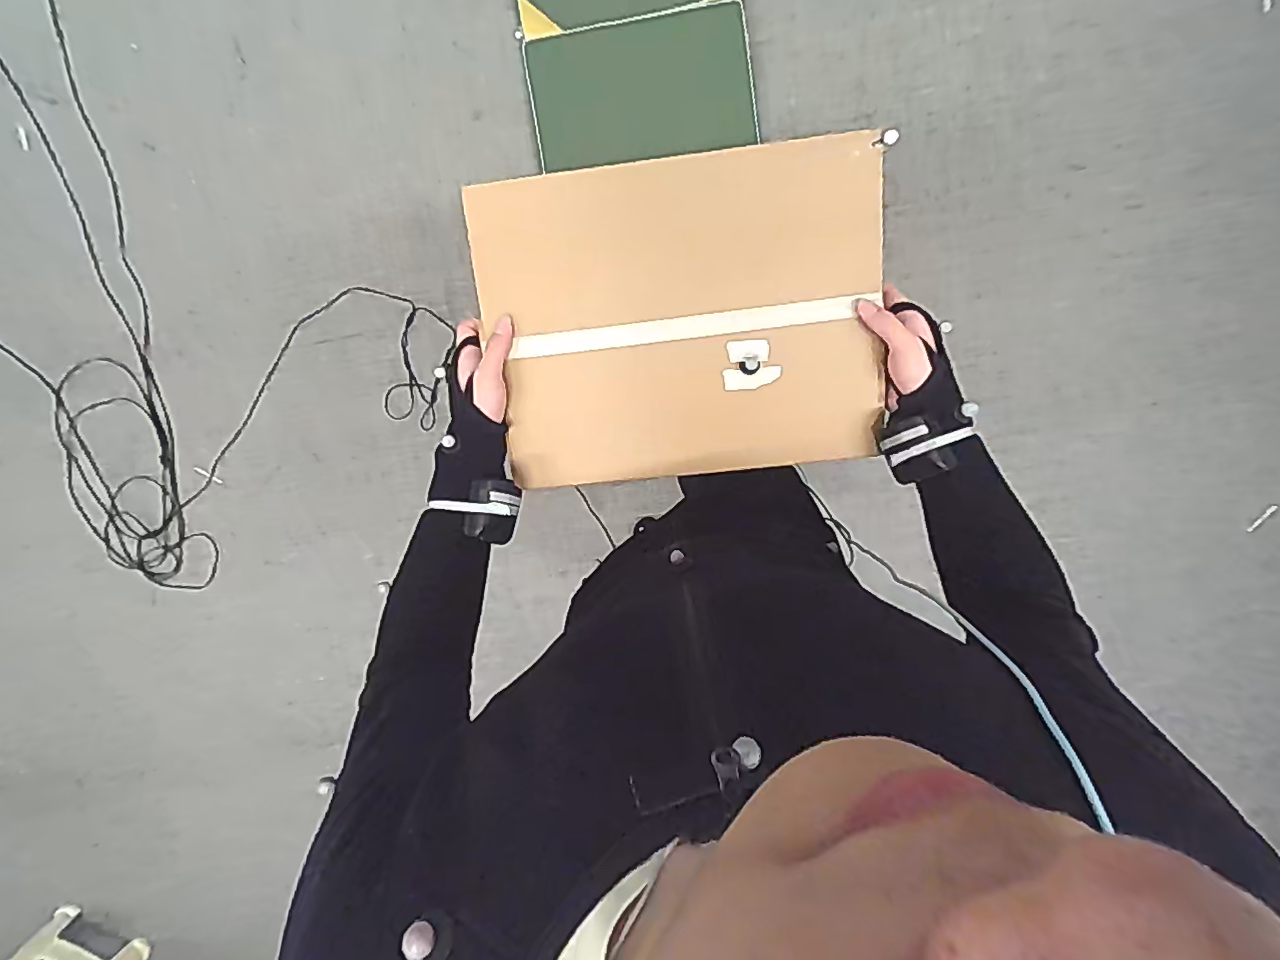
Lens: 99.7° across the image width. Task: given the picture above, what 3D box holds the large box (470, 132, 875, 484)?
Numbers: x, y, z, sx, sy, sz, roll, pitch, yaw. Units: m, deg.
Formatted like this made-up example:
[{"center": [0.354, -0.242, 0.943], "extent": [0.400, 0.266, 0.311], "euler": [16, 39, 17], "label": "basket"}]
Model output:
[{"center": [0.045, -0.200, 0.711], "extent": [0.408, 0.320, 0.320], "euler": [-6, 104, 3], "label": "large box"}]
